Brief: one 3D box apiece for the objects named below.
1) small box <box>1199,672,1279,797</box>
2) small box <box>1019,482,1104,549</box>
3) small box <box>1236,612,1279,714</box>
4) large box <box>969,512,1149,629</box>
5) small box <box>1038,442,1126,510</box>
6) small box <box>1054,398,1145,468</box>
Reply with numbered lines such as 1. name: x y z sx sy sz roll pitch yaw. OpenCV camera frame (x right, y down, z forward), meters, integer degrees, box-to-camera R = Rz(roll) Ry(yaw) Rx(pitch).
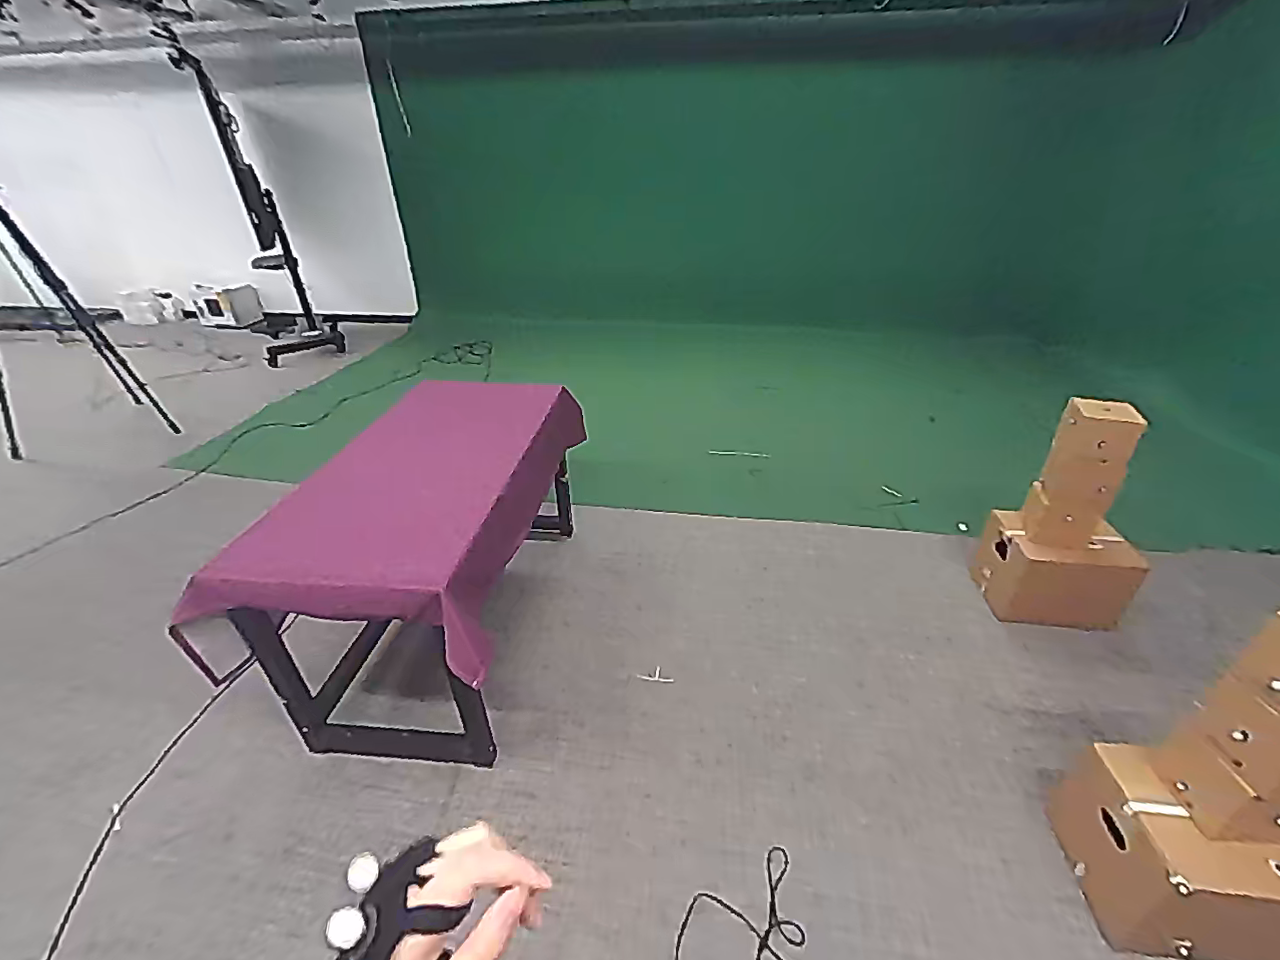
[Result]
1. small box: 1.267 0.497 1.057 0.179 0.176 0.168 -2 30 0
2. small box: 1.522 0.130 1.964 0.179 0.176 0.168 9 32 16
3. small box: 1.267 0.354 0.974 0.179 0.176 0.168 -2 30 -1
4. large box: 1.575 0.343 2.079 0.408 0.320 0.320 4 32 6
5. small box: 1.530 -0.012 1.883 0.179 0.176 0.168 10 32 20
6. small box: 1.526 -0.158 1.808 0.168 0.176 0.179 12 33 20
